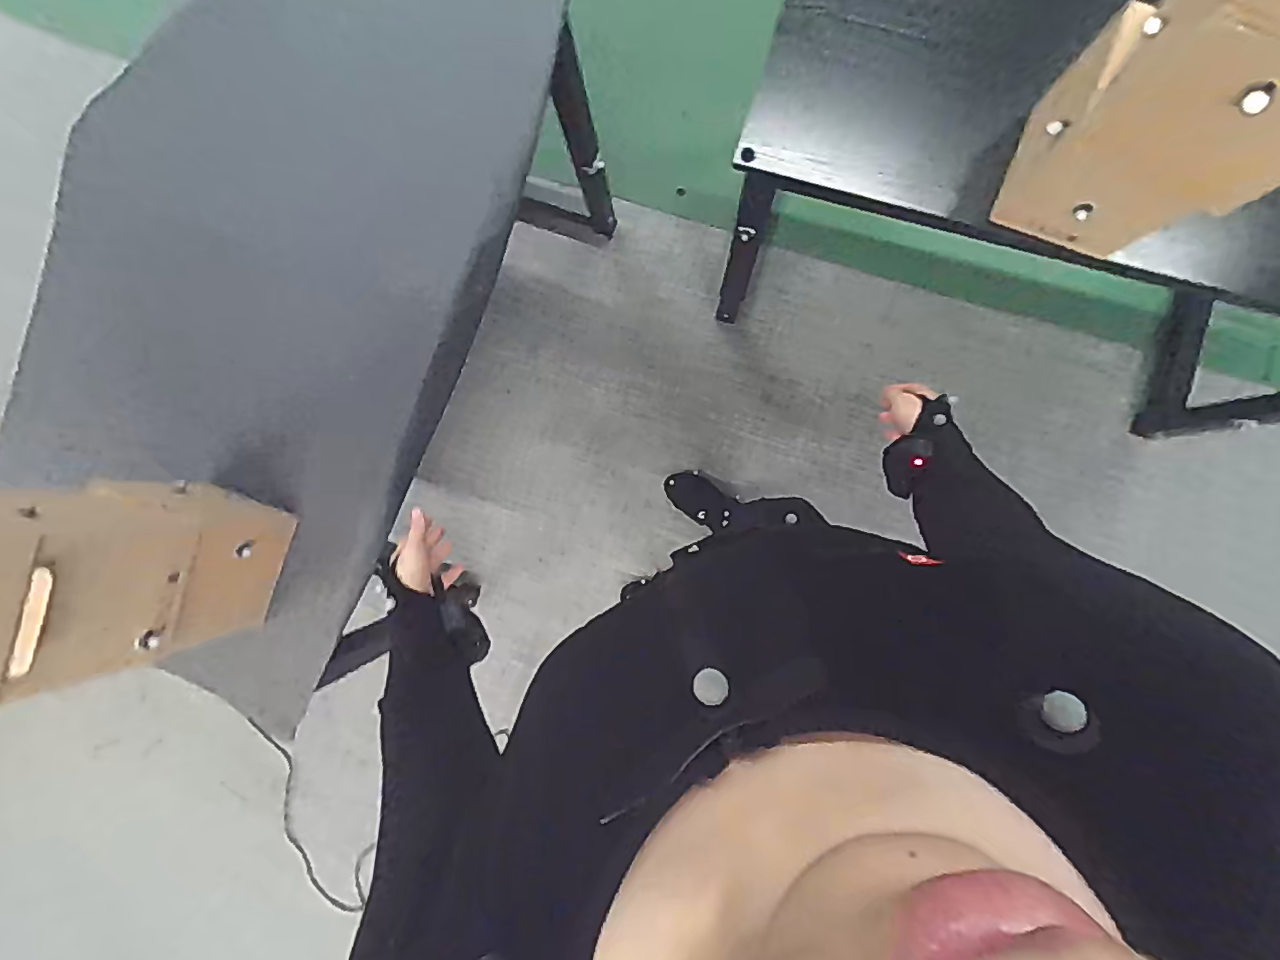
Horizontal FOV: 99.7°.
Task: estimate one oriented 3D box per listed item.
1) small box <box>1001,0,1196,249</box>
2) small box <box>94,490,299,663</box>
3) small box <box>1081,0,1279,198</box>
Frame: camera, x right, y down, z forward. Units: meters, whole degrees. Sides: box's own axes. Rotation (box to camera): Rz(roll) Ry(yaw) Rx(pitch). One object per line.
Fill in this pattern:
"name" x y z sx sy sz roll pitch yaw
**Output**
"small box" 0.588 -0.417 0.662 0.168 0.176 0.179 22 90 4
"small box" -0.617 0.121 0.747 0.168 0.176 0.179 17 90 7
"small box" 0.581 -0.398 0.500 0.179 0.176 0.168 30 91 5
